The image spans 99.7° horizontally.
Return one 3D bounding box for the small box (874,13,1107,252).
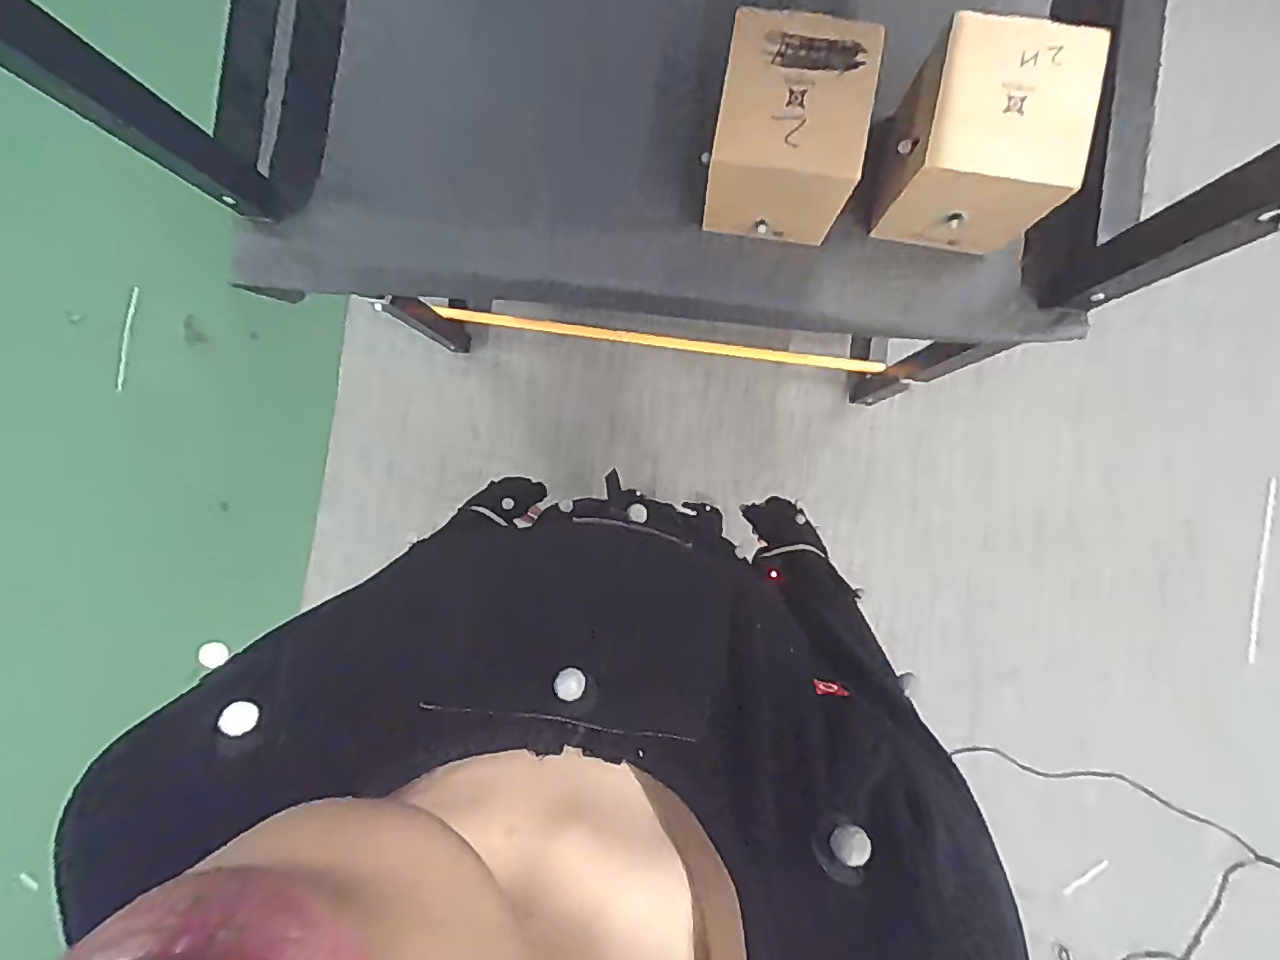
[{"bbox_3d":[0.407,-0.405,0.661,0.168,0.176,0.179,11,89,3],"label":"small box"}]
